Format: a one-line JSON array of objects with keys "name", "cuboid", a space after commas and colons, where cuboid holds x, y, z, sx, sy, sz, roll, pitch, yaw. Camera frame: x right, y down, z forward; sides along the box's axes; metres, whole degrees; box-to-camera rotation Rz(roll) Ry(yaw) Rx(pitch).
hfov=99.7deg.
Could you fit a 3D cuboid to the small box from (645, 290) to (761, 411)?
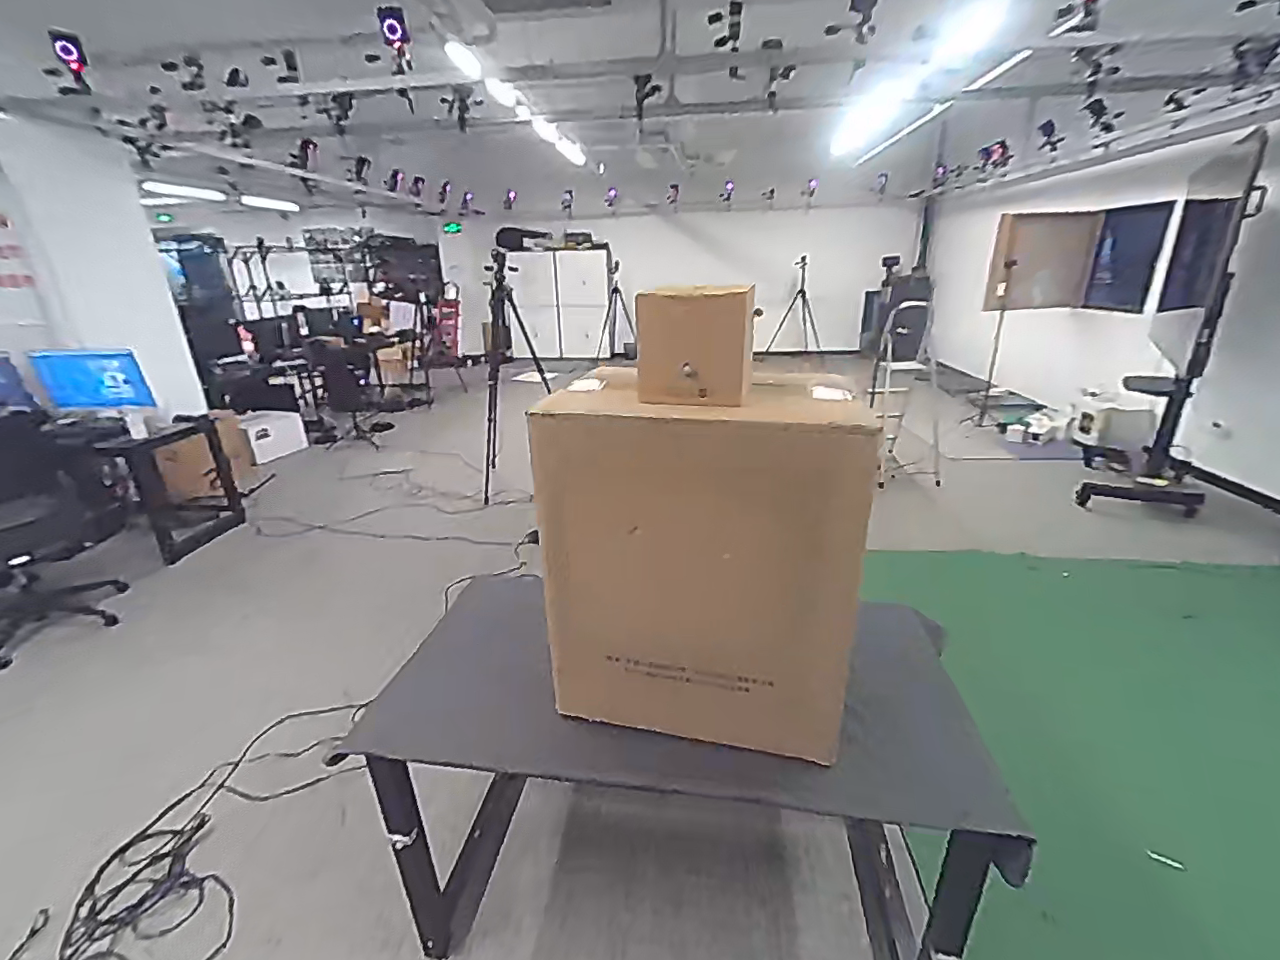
[{"name": "small box", "cuboid": [0.107, -0.221, 0.897, 0.168, 0.176, 0.179, 5, 24, 14]}]
